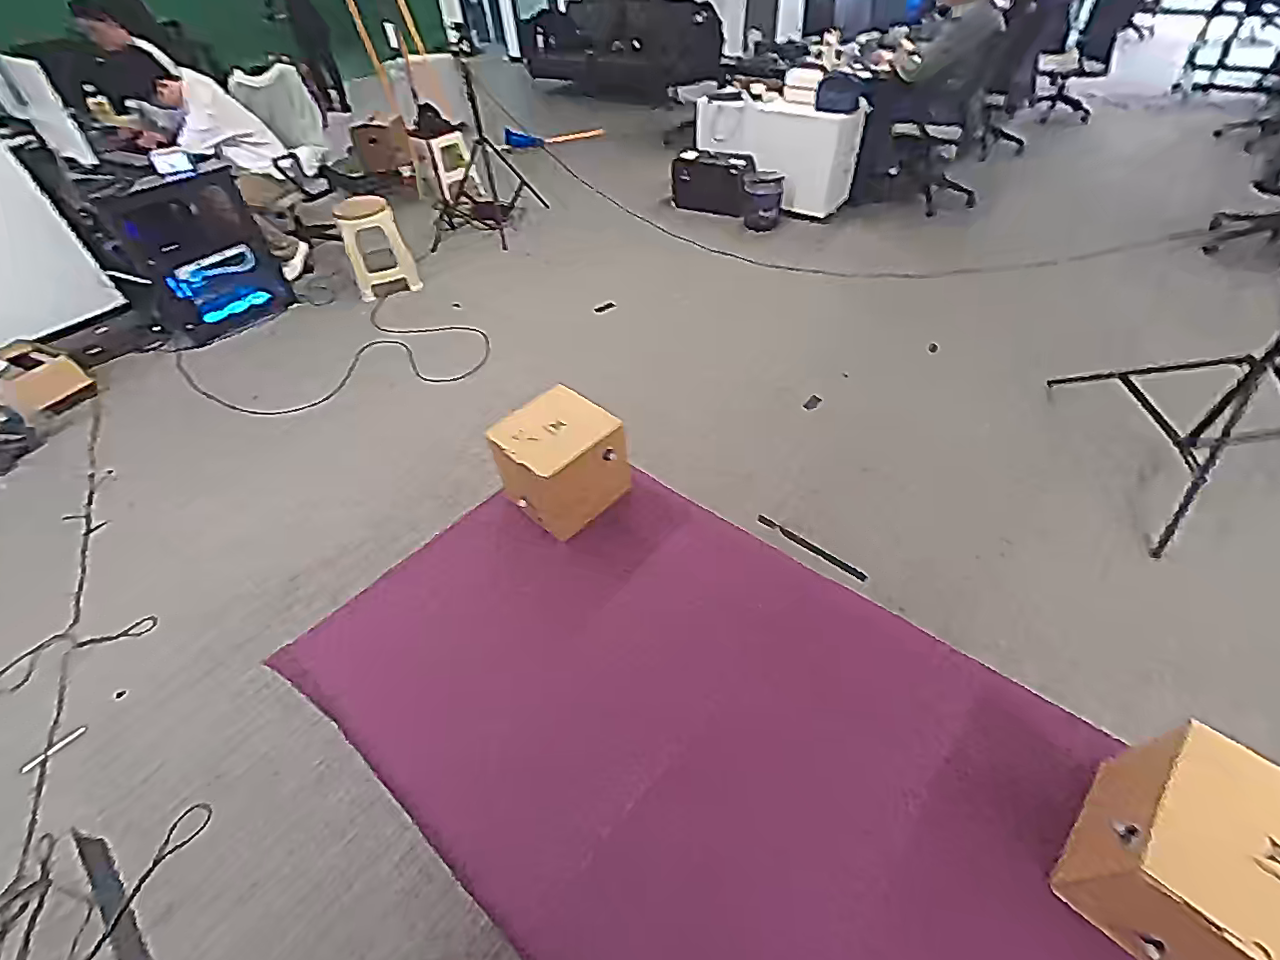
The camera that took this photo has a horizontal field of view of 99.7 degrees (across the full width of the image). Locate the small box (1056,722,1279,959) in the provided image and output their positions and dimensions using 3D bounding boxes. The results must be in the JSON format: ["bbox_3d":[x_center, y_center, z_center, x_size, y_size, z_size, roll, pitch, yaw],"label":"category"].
[{"bbox_3d":[0.559,0.384,0.532,0.168,0.176,0.179,34,61,30],"label":"small box"}]

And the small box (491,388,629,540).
[{"bbox_3d":[-0.133,-0.029,0.967,0.168,0.176,0.179,34,59,30],"label":"small box"}]
